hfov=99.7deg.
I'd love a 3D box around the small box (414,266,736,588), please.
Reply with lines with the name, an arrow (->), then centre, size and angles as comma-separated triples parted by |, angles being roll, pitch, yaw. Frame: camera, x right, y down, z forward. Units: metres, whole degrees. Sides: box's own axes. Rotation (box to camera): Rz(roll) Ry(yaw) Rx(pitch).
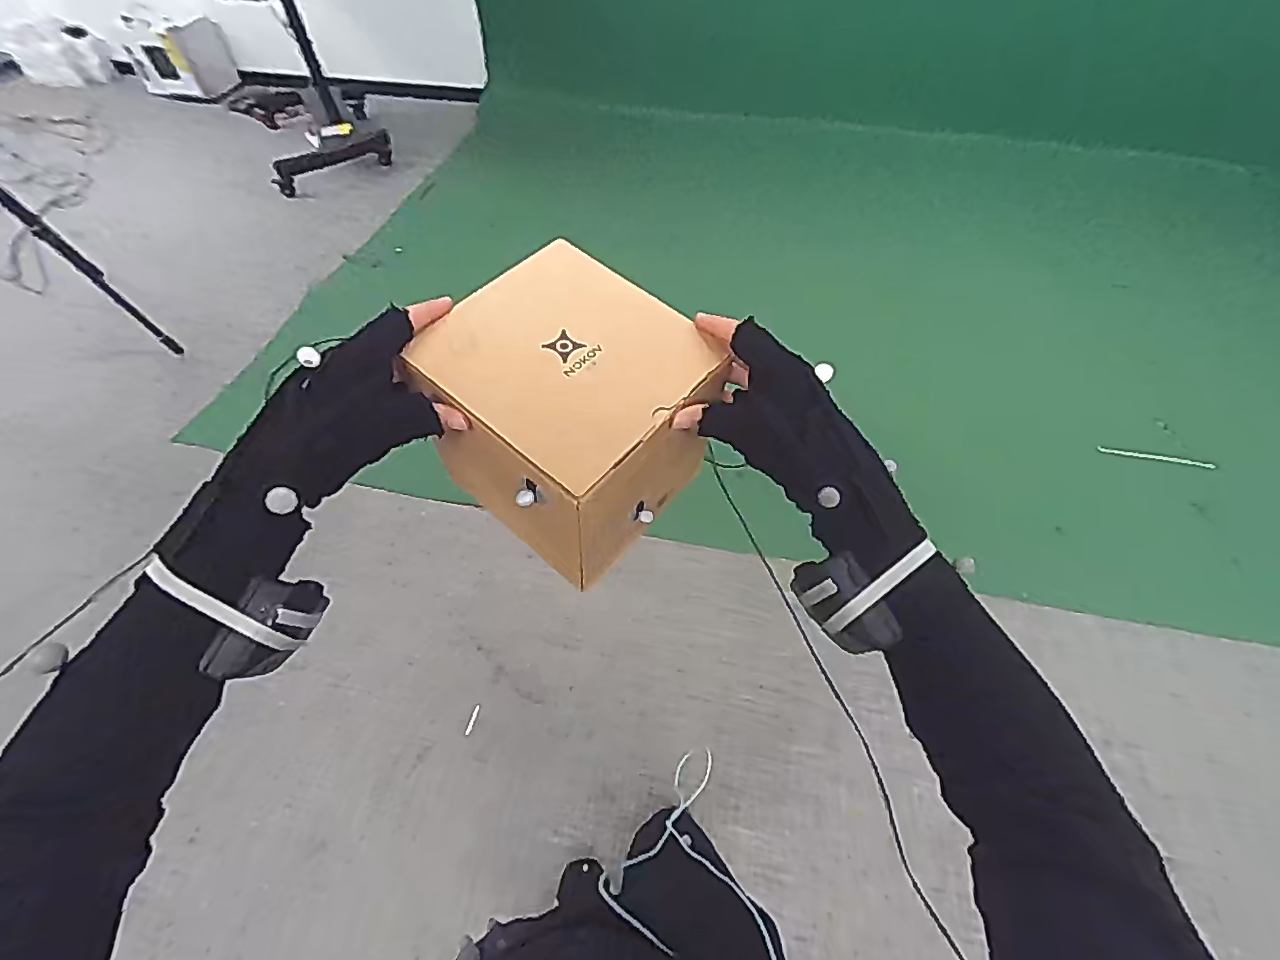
small box -> -0.052, -0.038, 0.458 | 0.179, 0.176, 0.168 | 38, 63, 16
